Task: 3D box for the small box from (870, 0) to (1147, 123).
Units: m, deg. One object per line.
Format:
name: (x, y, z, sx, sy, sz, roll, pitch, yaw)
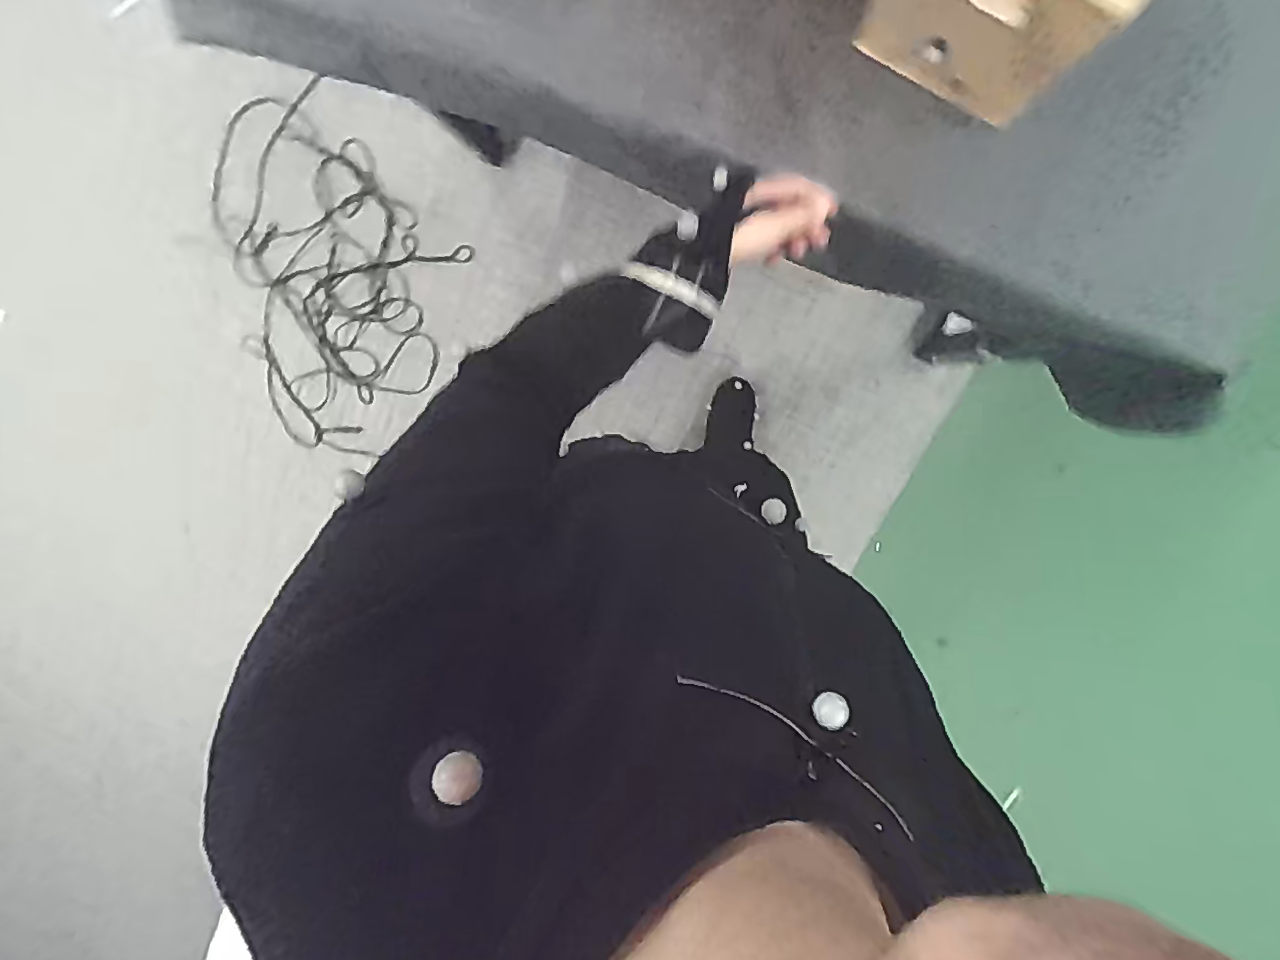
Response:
small box: (0.311, -0.433, 0.420, 0.168, 0.176, 0.179, 31, 104, 1)
